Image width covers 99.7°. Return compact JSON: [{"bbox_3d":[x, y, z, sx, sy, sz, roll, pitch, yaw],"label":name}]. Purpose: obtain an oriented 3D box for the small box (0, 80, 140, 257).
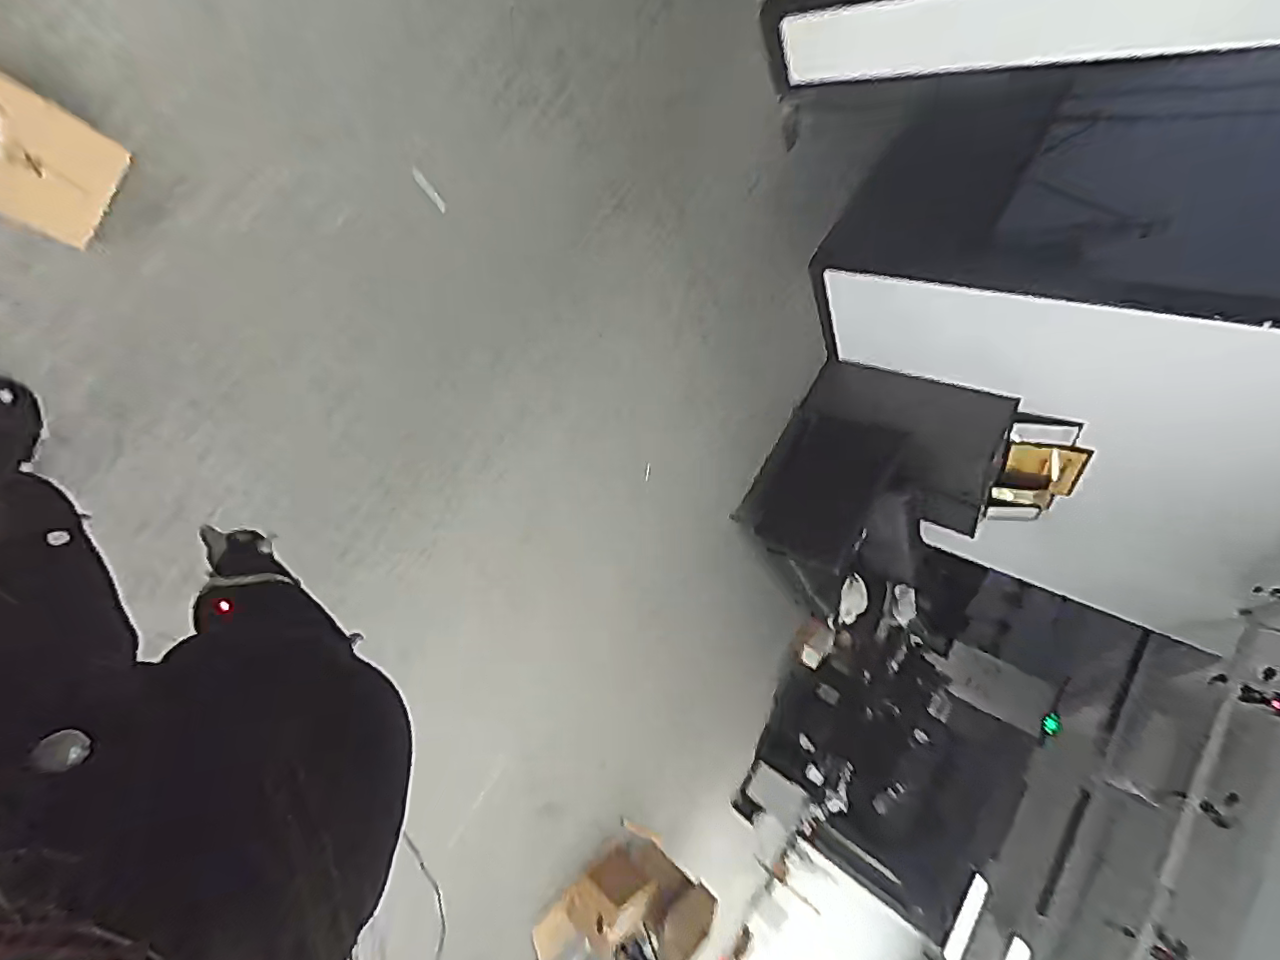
[{"bbox_3d":[-0.890,-0.452,0.785,0.179,0.176,0.168,27,87,-56],"label":"small box"}]
